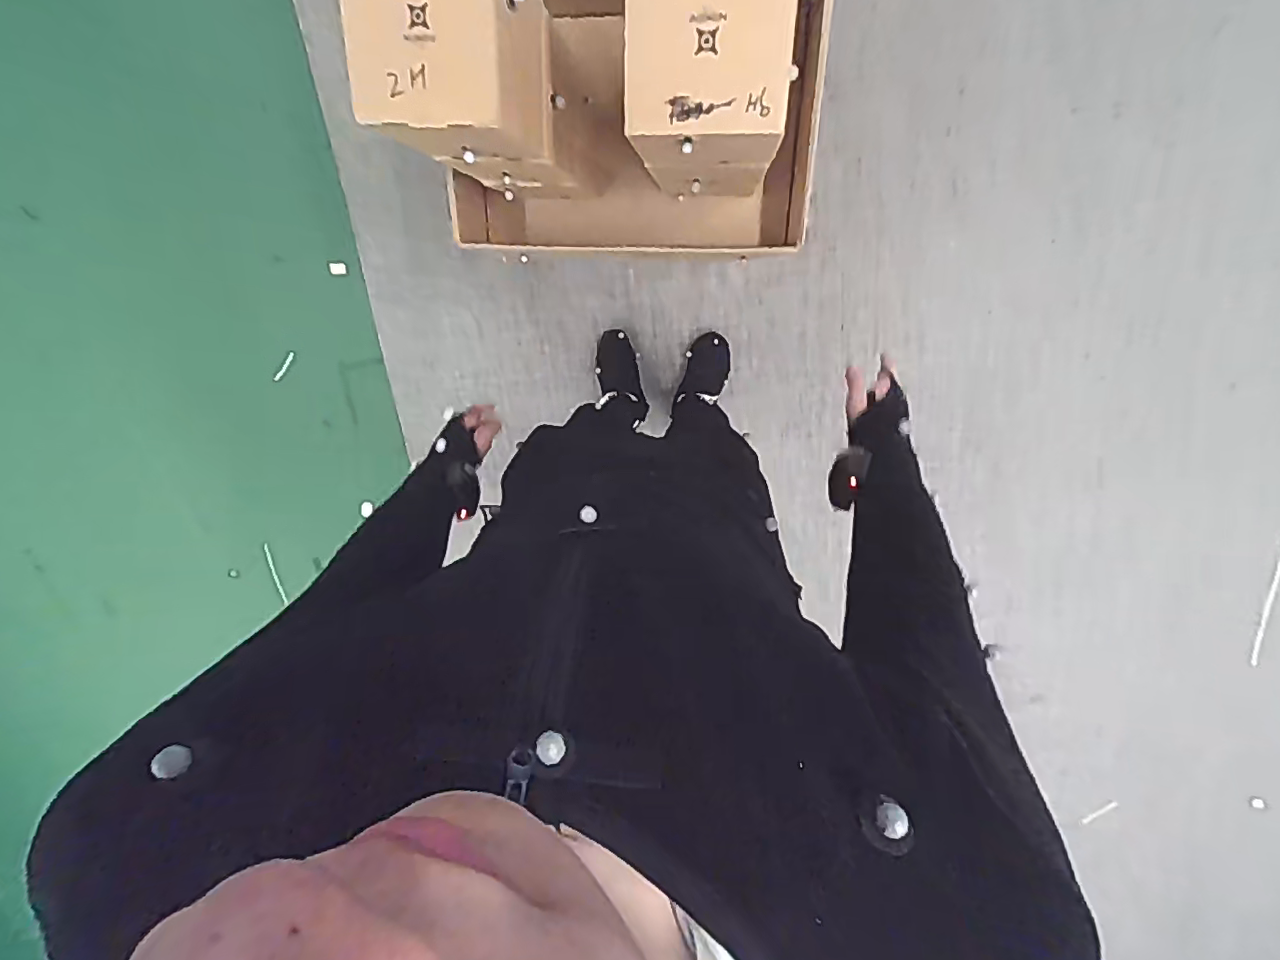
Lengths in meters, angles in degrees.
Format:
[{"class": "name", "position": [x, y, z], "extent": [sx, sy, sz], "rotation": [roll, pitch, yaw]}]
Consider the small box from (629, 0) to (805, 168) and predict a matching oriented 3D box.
[{"class": "small box", "position": [0.083, -0.463, 0.597], "extent": [0.168, 0.176, 0.179], "rotation": [5, 111, 7]}]

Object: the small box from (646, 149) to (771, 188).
[{"class": "small box", "position": [0.102, -0.520, 0.750], "extent": [0.168, 0.176, 0.179], "rotation": [5, 112, 6]}]

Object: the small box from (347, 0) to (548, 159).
[{"class": "small box", "position": [-0.209, -0.493, 0.625], "extent": [0.168, 0.176, 0.179], "rotation": [6, 111, 6]}]

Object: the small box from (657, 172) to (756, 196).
[{"class": "small box", "position": [0.123, -0.581, 0.899], "extent": [0.168, 0.176, 0.179], "rotation": [5, 111, 6]}]

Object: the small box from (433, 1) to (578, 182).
[{"class": "small box", "position": [-0.189, -0.547, 0.780], "extent": [0.168, 0.176, 0.179], "rotation": [5, 111, 6]}]
